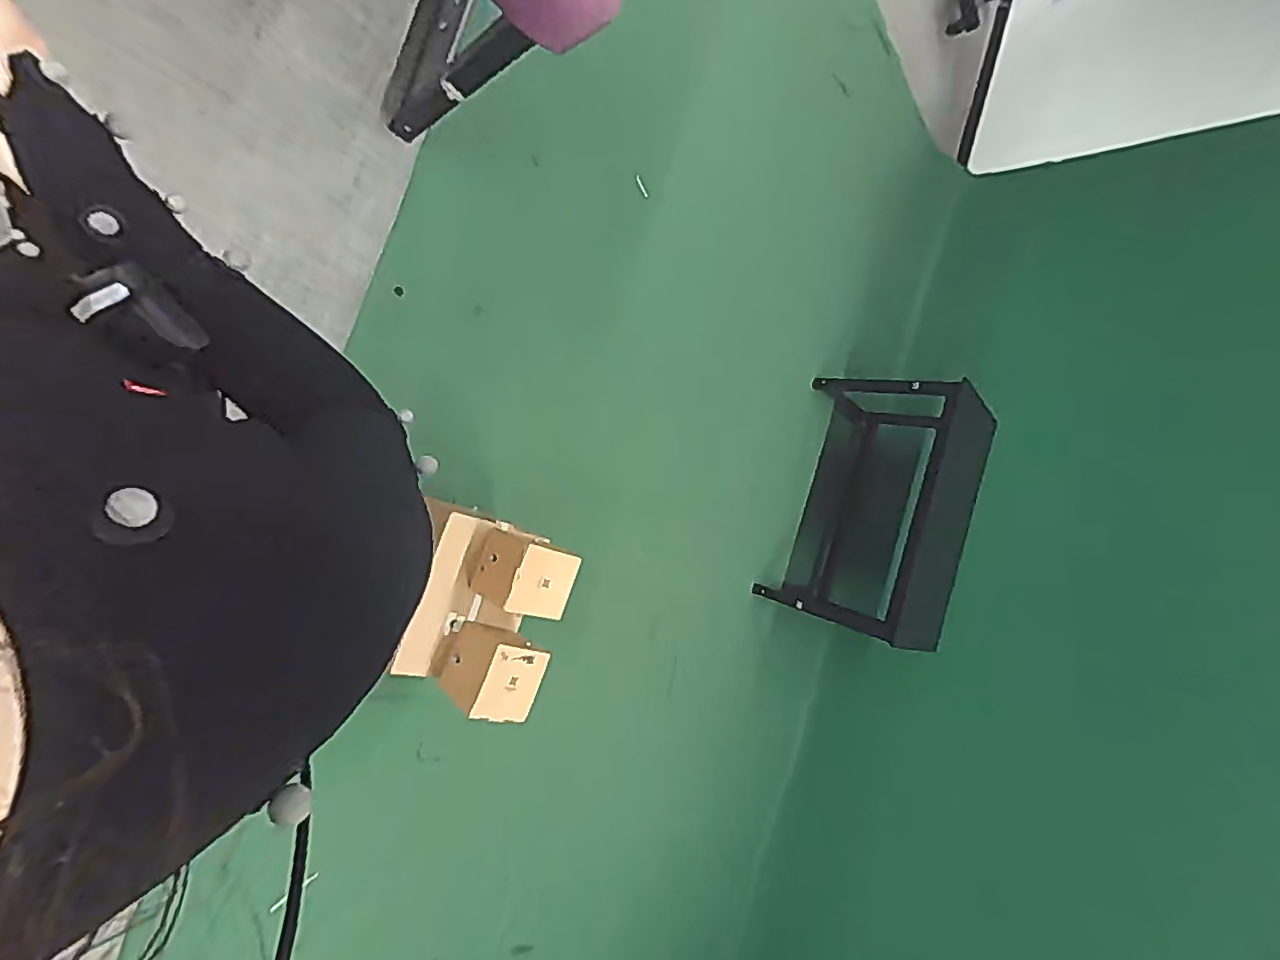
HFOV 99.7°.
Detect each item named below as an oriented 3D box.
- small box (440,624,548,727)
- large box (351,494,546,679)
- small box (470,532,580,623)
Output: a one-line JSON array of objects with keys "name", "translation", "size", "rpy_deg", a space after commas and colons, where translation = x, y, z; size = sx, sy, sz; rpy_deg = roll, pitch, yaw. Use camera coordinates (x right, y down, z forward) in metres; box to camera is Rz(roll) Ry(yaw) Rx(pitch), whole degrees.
[{"name": "small box", "translation": [-0.363, 0.477, 1.325], "size": [0.168, 0.176, 0.179], "rpy_deg": [31, 77, -44]}, {"name": "large box", "translation": [-0.521, 0.286, 1.475], "size": [0.320, 0.320, 0.408], "rpy_deg": [24, 83, -43]}, {"name": "small box", "translation": [-0.287, 0.240, 1.348], "size": [0.179, 0.176, 0.168], "rpy_deg": [25, 82, -44]}]
